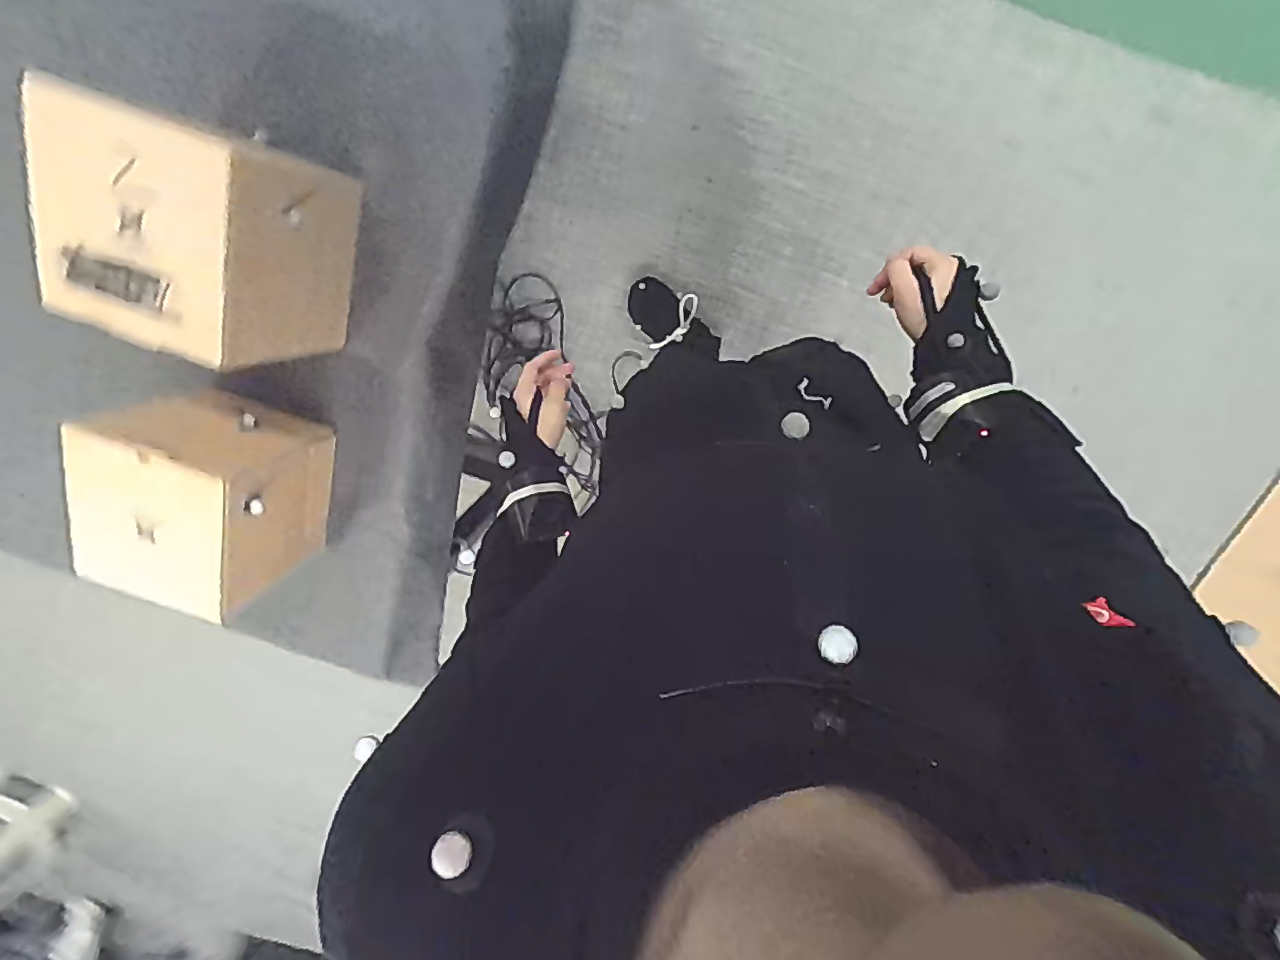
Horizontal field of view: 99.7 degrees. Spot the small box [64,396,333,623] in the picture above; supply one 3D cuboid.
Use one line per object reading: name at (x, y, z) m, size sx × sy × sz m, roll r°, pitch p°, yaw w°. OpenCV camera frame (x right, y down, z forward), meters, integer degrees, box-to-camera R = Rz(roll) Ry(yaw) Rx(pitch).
small box at (-0.479, 0.023, 0.613) m, size 0.168 × 0.176 × 0.179 m, roll 18°, pitch 111°, yaw 1°
